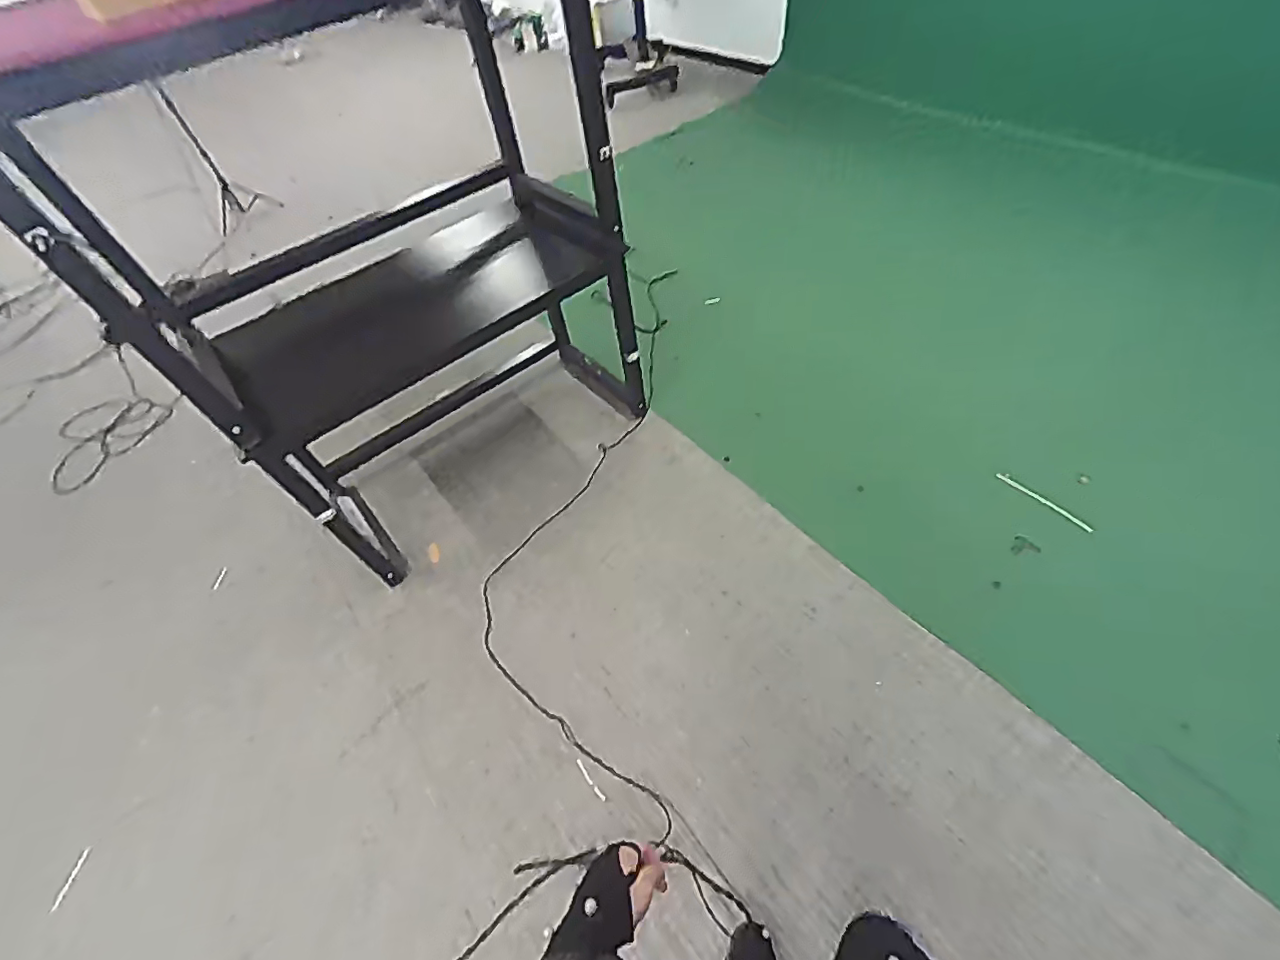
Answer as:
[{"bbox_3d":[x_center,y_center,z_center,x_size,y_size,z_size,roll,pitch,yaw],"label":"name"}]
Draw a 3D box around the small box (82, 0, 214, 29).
[{"bbox_3d":[-0.818,-0.836,0.844,0.179,0.176,0.168,-39,57,-21],"label":"small box"}]
